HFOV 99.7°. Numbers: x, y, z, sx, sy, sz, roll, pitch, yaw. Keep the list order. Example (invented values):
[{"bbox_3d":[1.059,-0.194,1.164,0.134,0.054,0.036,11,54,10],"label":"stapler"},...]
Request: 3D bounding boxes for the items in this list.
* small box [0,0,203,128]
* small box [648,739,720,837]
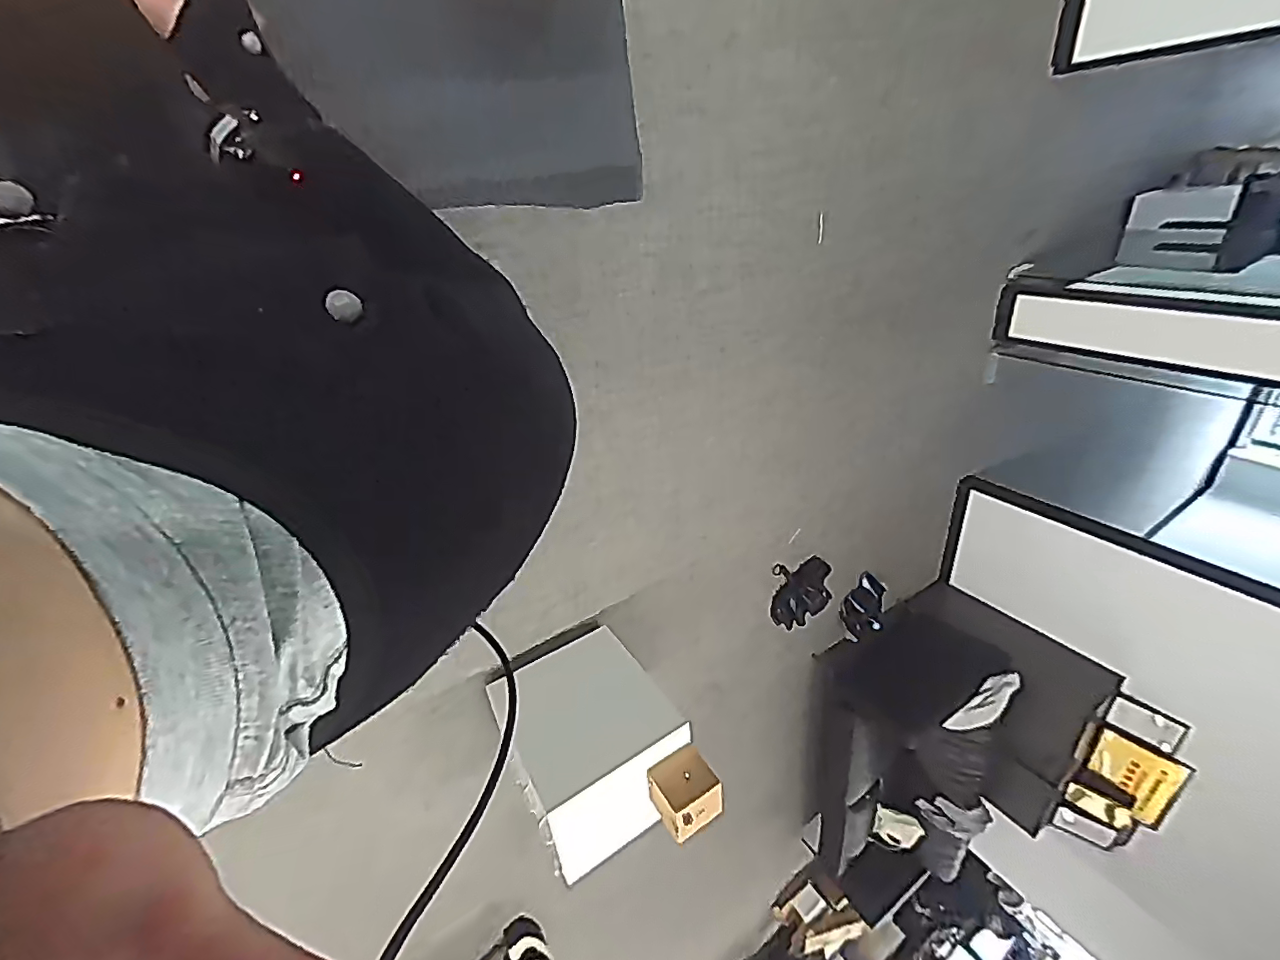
[{"bbox_3d":[-0.478,-0.393,0.391,0.179,0.176,0.168,-20,90,-14],"label":"small box"},{"bbox_3d":[0.136,0.985,1.740,0.179,0.176,0.168,-22,124,-26],"label":"small box"}]
